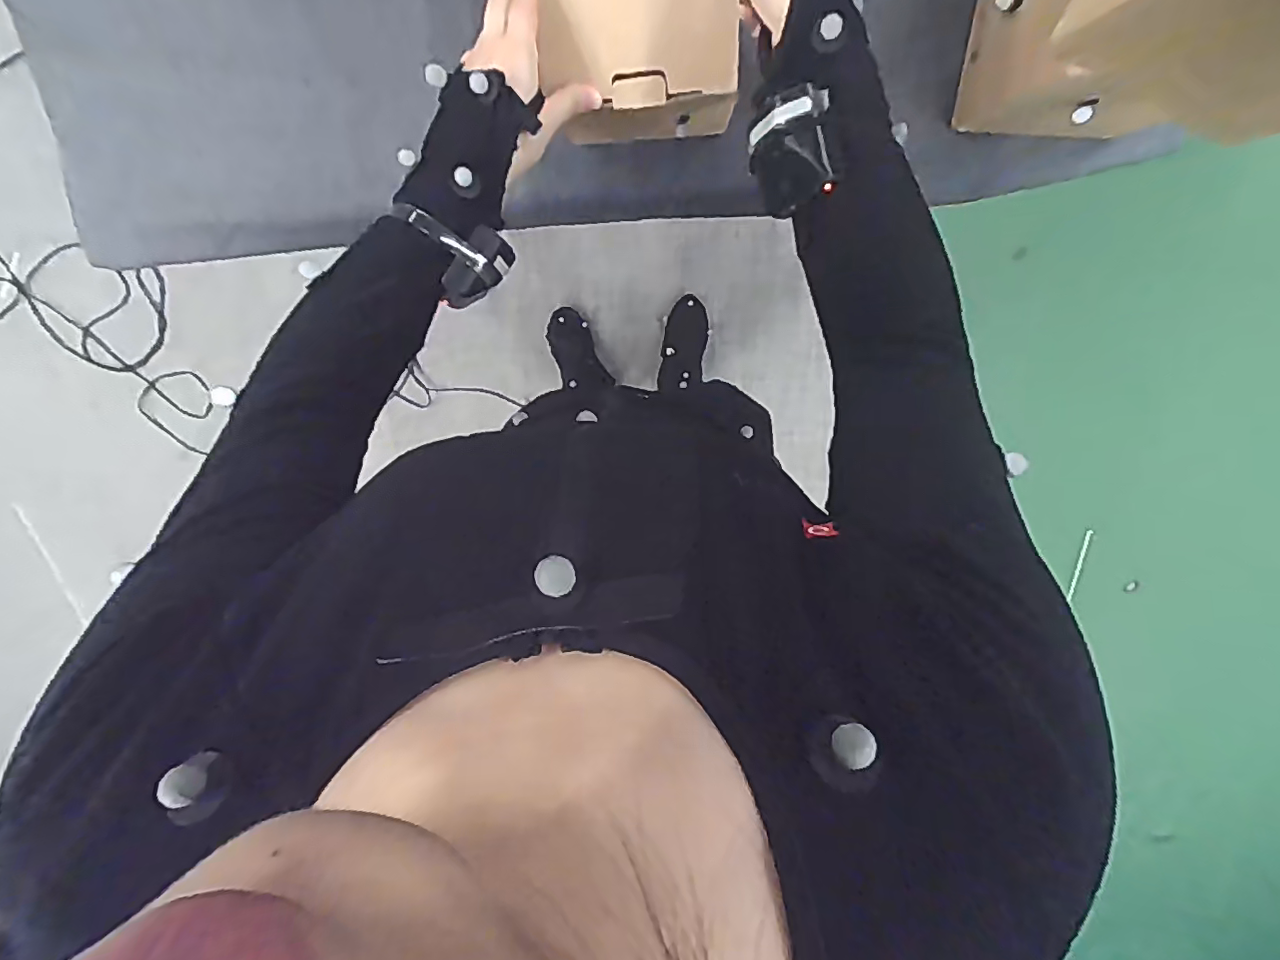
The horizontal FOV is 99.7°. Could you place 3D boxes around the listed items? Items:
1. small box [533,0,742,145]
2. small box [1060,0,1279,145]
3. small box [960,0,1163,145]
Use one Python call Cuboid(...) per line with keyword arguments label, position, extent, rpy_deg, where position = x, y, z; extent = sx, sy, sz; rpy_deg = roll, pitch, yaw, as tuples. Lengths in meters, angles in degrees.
Cuboid(label="small box", position=(0.002, -0.414, 0.485), extent=(0.168, 0.176, 0.179), rpy_deg=(-2, 112, 4))
Cuboid(label="small box", position=(0.421, -0.337, 0.328), extent=(0.179, 0.176, 0.168), rpy_deg=(23, 109, -8))
Cuboid(label="small box", position=(0.421, -0.409, 0.475), extent=(0.179, 0.176, 0.168), rpy_deg=(3, 110, 1))
